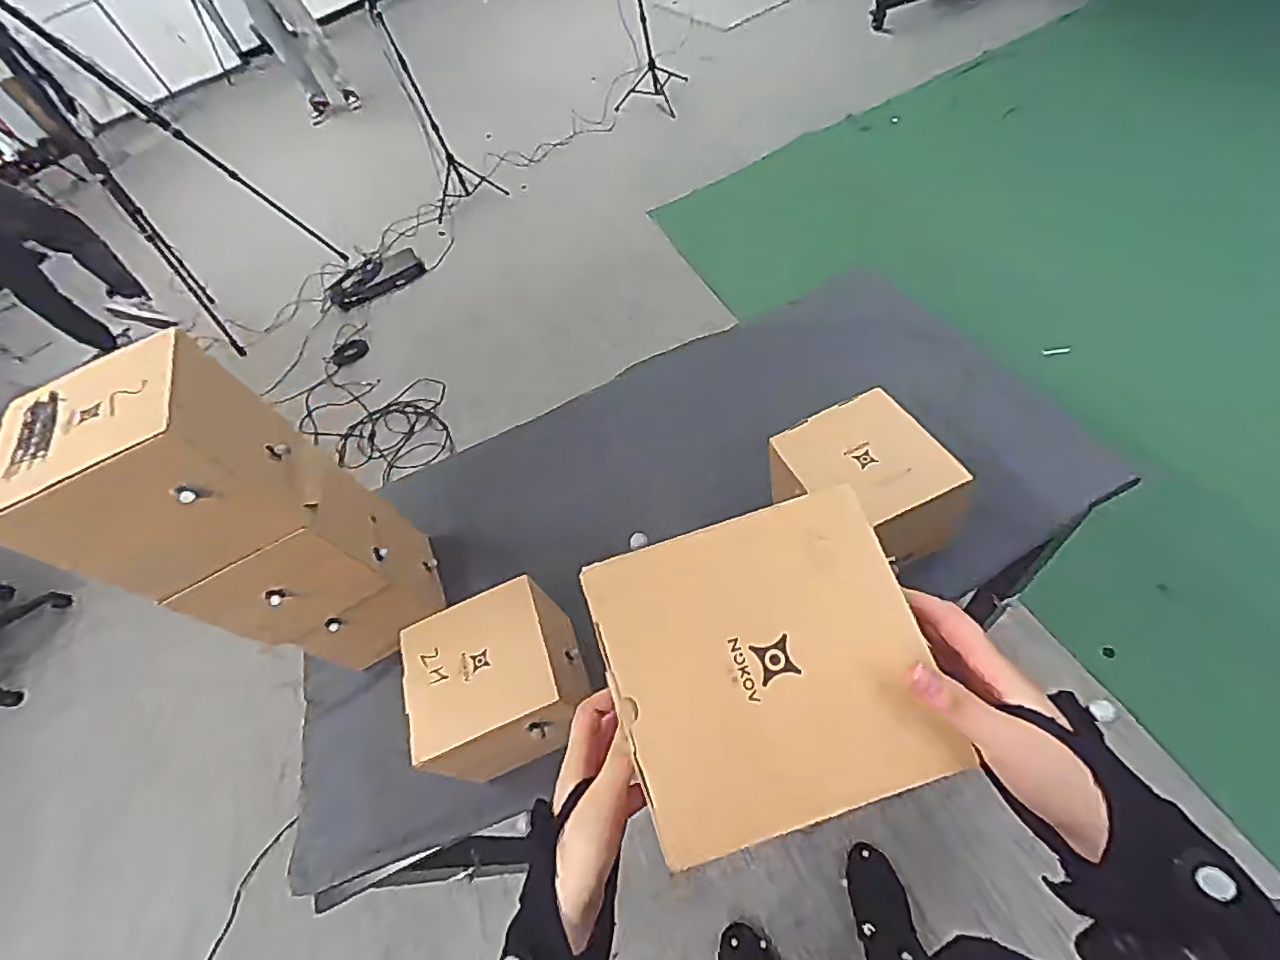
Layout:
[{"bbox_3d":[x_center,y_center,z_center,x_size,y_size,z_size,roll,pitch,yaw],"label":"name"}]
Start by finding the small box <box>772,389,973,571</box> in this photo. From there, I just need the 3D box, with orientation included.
[{"bbox_3d":[0.292,0.019,0.719,0.168,0.176,0.179,-26,53,-1],"label":"small box"}]

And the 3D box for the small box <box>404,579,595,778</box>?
[{"bbox_3d":[-0.170,0.258,0.692,0.179,0.176,0.168,-25,54,0],"label":"small box"}]

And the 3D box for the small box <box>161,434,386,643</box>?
[{"bbox_3d":[-0.450,0.080,0.691,0.179,0.176,0.168,-29,55,-4],"label":"small box"}]

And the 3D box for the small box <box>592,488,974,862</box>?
[{"bbox_3d":[0.080,0.123,0.384,0.179,0.176,0.168,-18,73,0],"label":"small box"}]

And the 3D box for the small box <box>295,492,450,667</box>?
[{"bbox_3d":[-0.420,0.158,0.834,0.168,0.176,0.179,-29,54,-5],"label":"small box"}]
